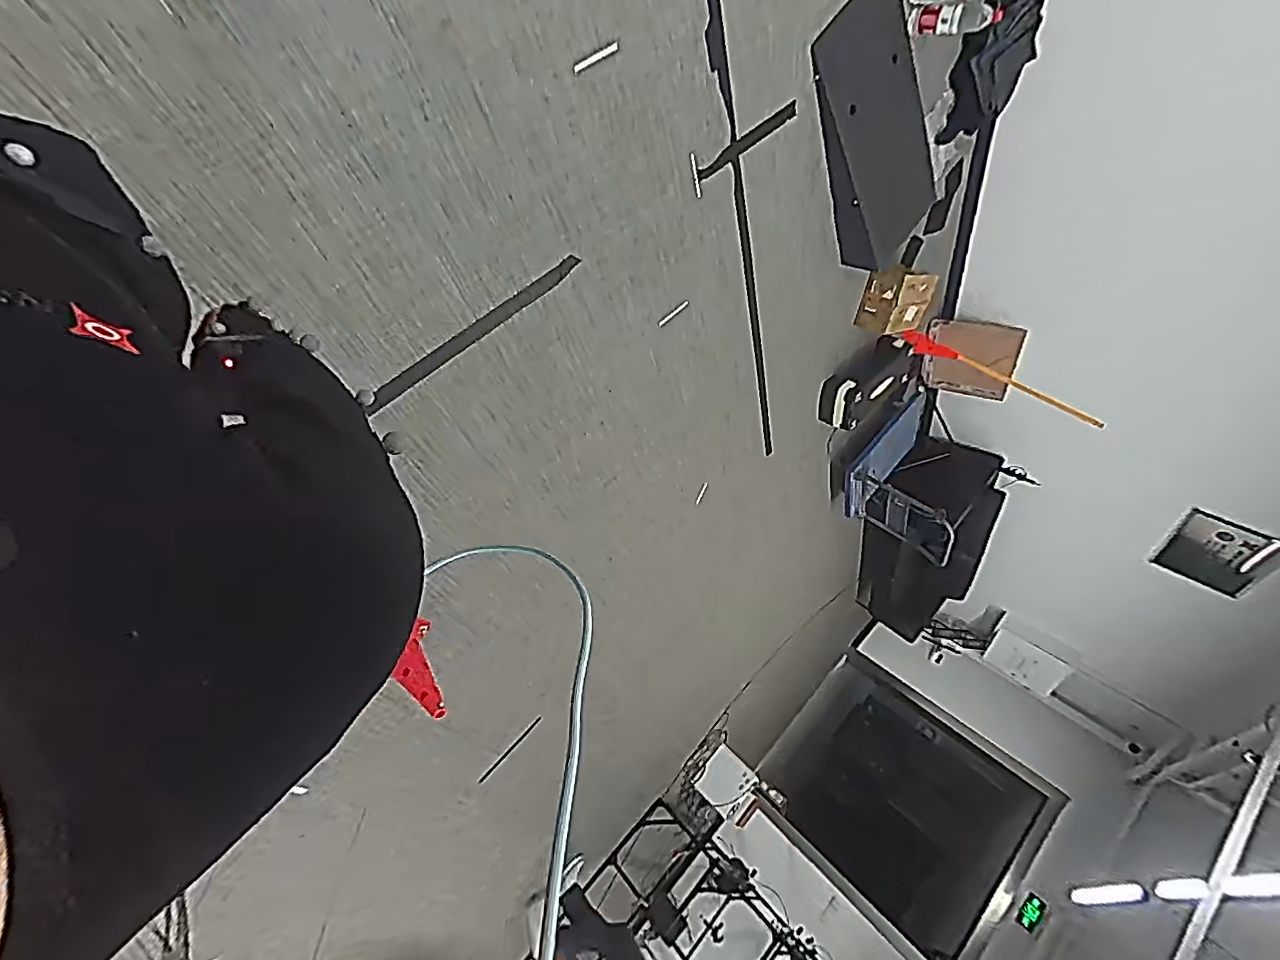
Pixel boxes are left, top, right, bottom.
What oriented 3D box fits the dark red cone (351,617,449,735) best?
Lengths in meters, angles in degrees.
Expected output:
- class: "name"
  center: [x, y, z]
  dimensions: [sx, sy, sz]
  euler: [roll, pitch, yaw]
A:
- class: "dark red cone"
  center: [-0.679, 0.612, 1.632]
  dimensions: [0.202, 0.394, 0.201]
  euler: [-48, 142, -12]
